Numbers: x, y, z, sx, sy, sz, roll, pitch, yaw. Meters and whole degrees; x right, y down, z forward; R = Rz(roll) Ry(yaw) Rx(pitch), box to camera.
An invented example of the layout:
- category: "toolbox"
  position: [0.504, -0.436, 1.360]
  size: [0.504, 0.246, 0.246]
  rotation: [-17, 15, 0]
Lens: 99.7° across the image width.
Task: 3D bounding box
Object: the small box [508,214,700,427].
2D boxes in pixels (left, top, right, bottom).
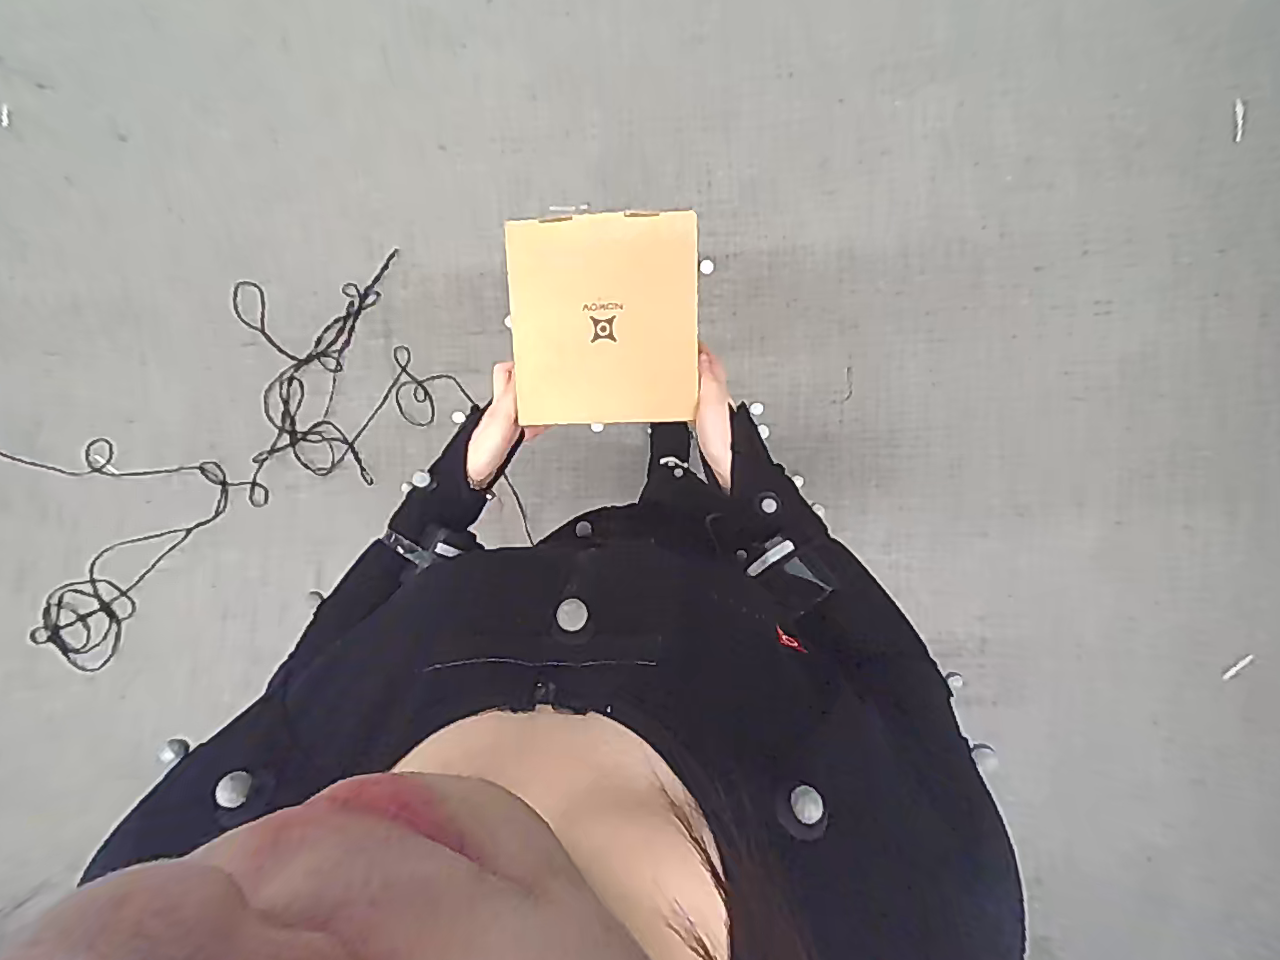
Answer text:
- category: "small box"
  position: [-0.022, -0.150, 0.547]
  size: [0.168, 0.176, 0.179]
  rotation: [-1, 100, 5]
